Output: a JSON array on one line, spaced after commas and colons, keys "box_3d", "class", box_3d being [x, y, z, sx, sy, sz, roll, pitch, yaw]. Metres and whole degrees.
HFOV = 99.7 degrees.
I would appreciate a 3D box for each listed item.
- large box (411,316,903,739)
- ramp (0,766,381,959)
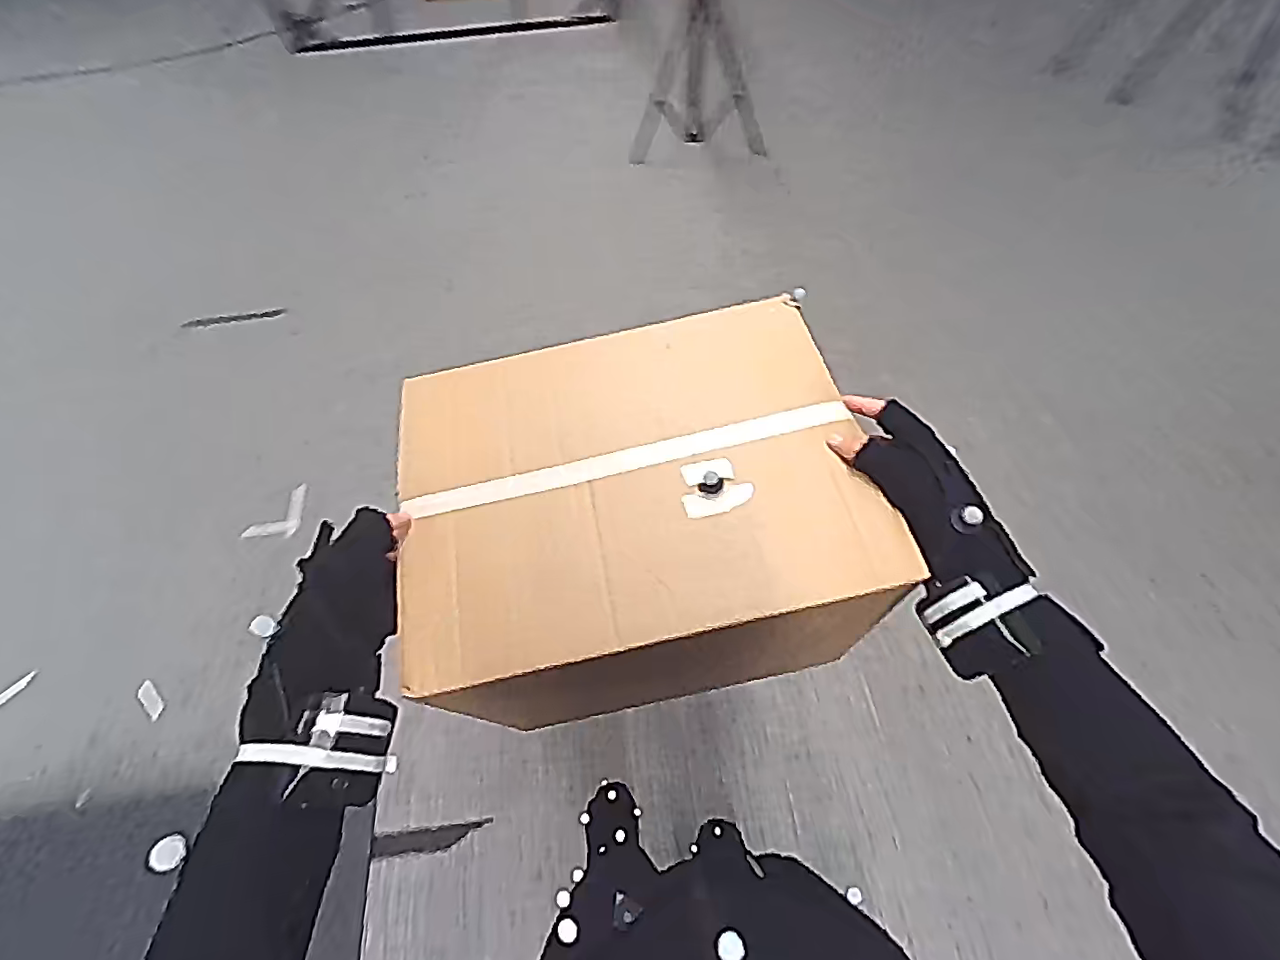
[{"box_3d": [-0.001, 0.072, 0.623, 0.408, 0.320, 0.320, -14, 60, -2], "class": "large box"}, {"box_3d": [-1.083, 0.911, 1.096, 0.991, 0.206, 0.509, -9, 57, -3], "class": "ramp"}]
